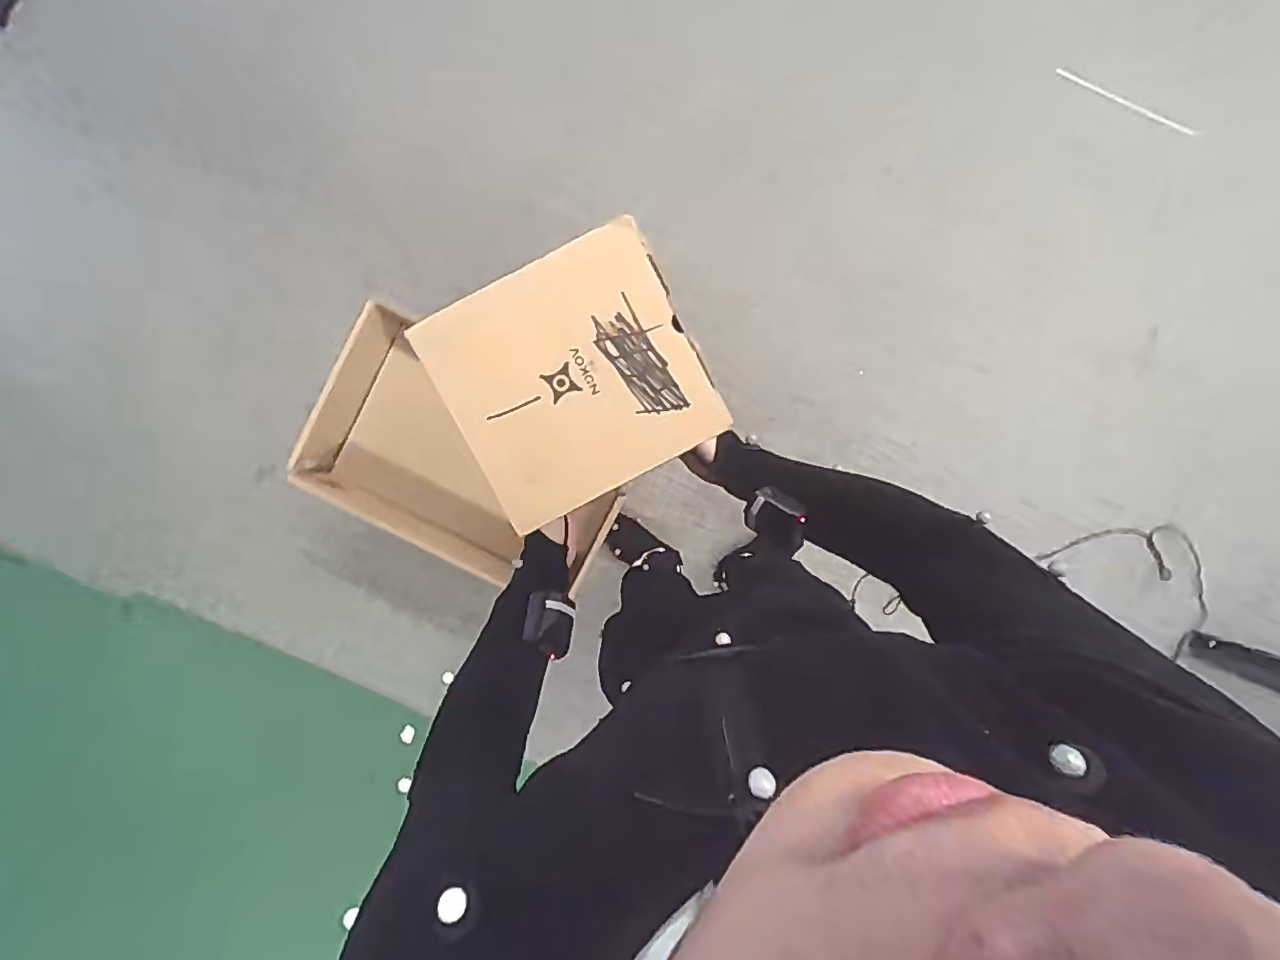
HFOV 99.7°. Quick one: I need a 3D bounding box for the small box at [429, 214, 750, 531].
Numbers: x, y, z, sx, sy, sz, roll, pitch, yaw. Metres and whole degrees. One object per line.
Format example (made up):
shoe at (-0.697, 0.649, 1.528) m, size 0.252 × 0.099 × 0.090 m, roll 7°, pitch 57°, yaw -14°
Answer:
small box at (-0.037, -0.081, 0.452) m, size 0.179 × 0.176 × 0.168 m, roll -27°, pitch 96°, yaw -1°
